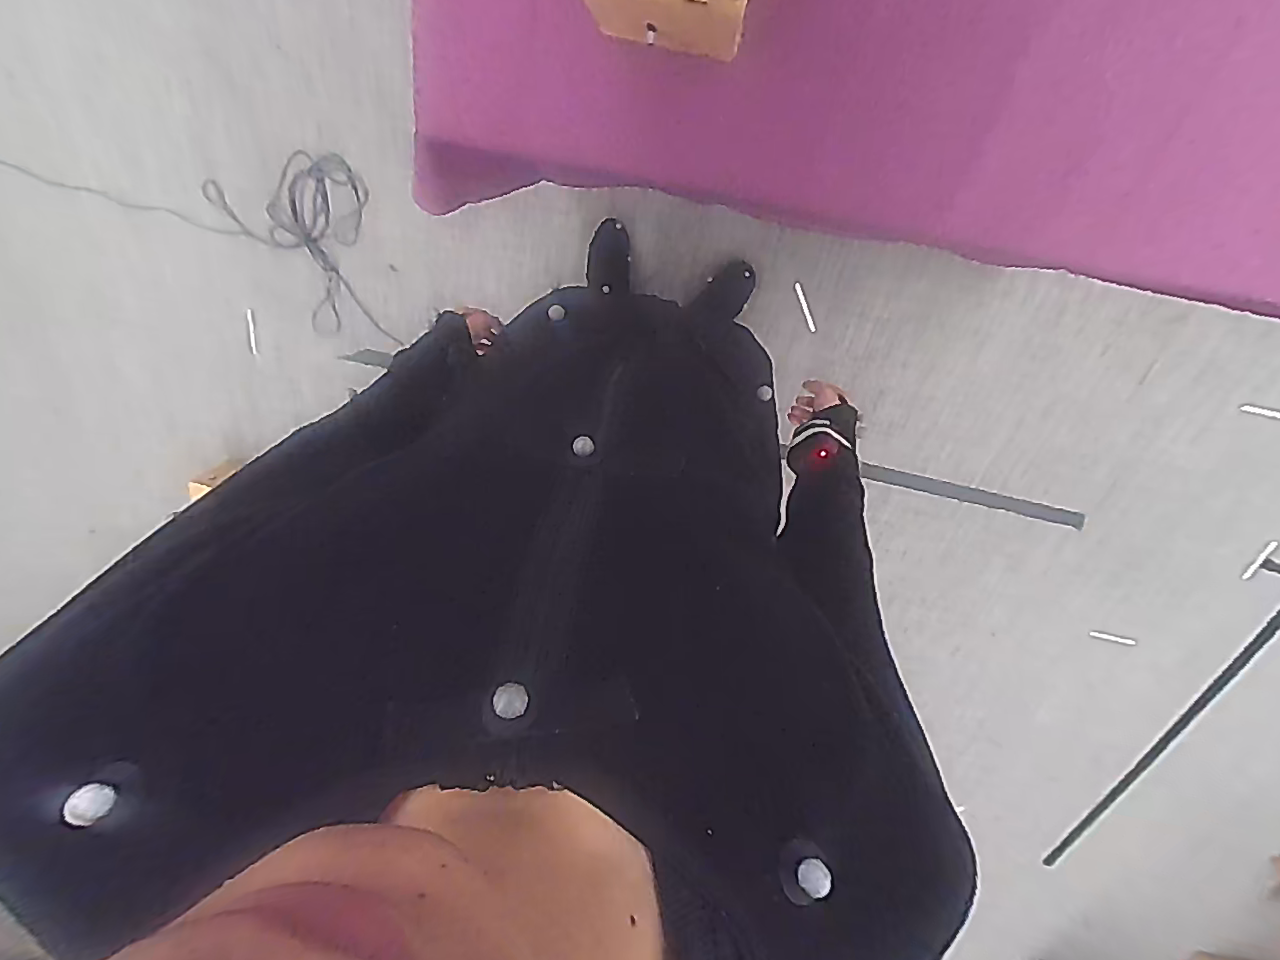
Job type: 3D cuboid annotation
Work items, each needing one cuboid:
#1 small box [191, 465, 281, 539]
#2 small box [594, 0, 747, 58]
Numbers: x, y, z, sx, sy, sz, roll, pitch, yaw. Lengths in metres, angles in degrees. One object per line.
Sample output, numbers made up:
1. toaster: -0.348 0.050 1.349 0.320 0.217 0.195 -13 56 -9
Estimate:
1. small box: -1.352 0.068 1.818 0.179 0.176 0.168 16 118 -2
2. small box: 0.039 -0.559 0.536 0.168 0.176 0.179 12 117 0
